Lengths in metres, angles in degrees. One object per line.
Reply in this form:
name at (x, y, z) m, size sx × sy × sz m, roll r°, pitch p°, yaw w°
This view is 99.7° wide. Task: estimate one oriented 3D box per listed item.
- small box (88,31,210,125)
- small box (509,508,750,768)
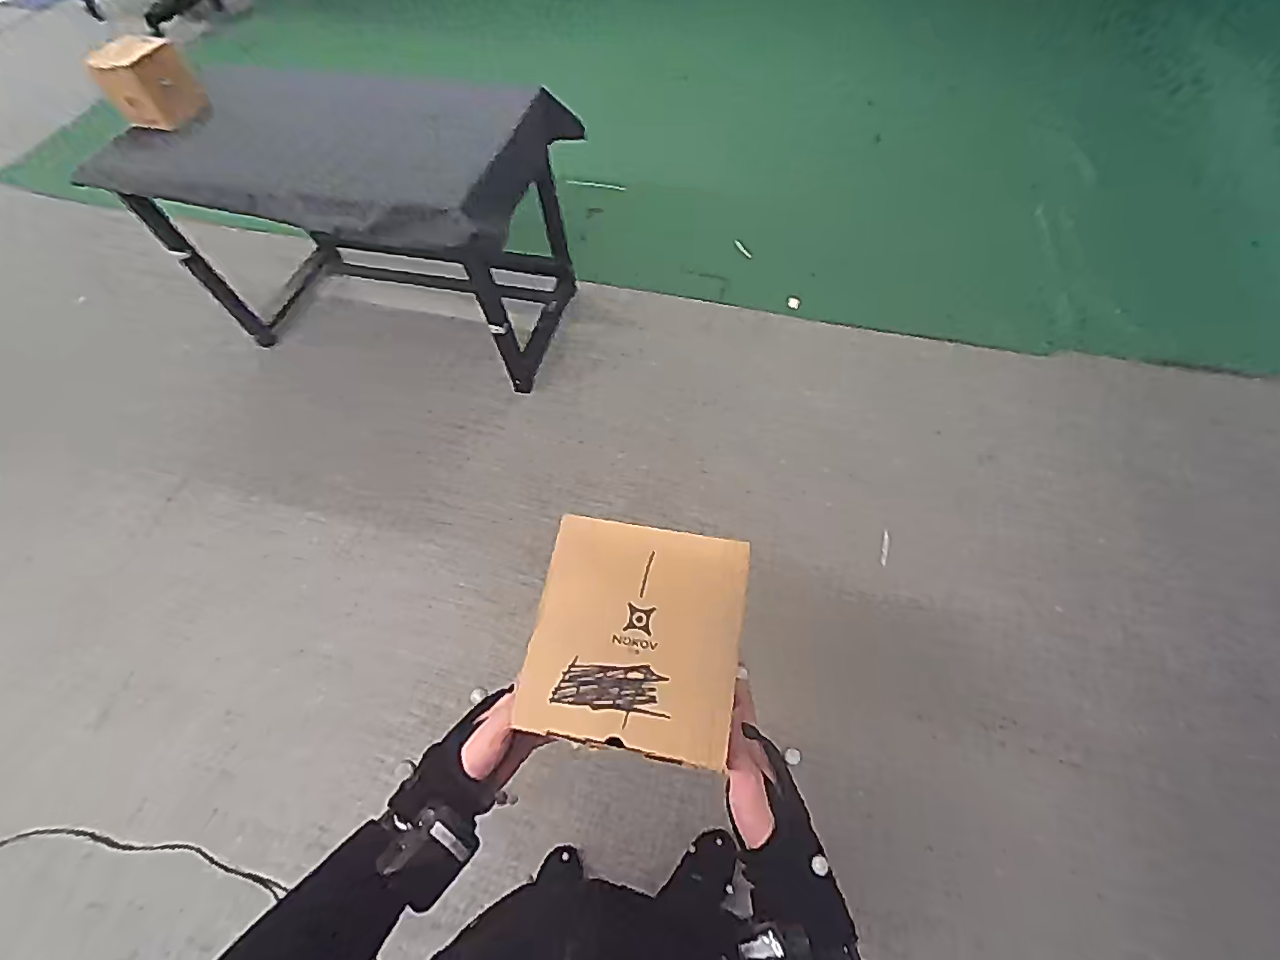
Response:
small box at (-1.444, -1.189, 1.606) m, size 0.168 × 0.176 × 0.179 m, roll 13°, pitch 63°, yaw 10°
small box at (0.001, 0.147, 0.497) m, size 0.168 × 0.176 × 0.179 m, roll 9°, pitch 66°, yaw 7°
